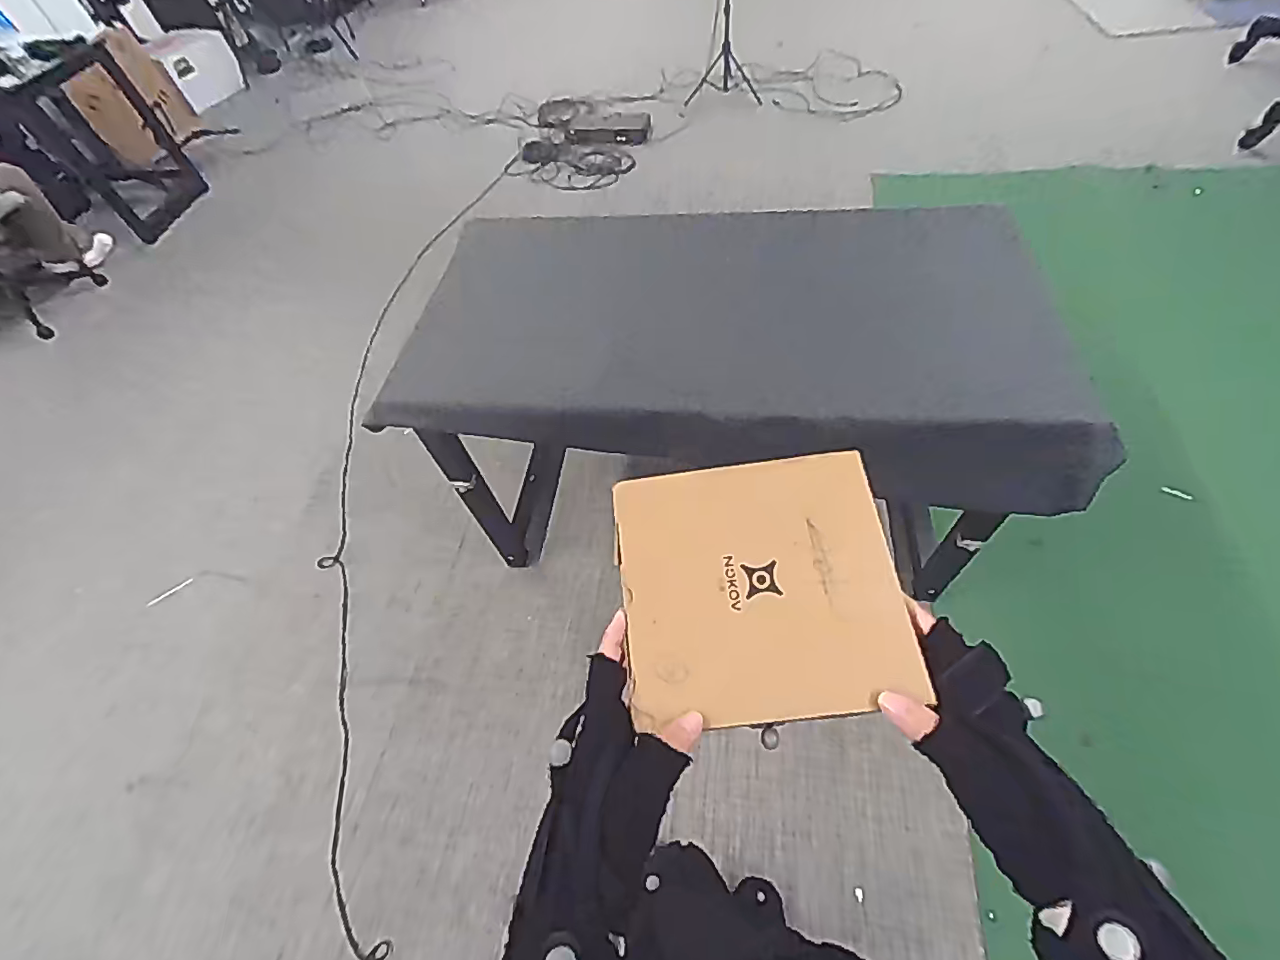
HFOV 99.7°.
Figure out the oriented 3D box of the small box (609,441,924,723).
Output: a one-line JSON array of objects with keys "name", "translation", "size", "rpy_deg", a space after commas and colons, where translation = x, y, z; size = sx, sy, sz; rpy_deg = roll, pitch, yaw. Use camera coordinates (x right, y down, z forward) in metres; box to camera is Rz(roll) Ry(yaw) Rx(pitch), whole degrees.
[{"name": "small box", "translation": [0.082, 0.092, 0.424], "size": [0.179, 0.176, 0.168], "rpy_deg": [-9, 65, 3]}]
